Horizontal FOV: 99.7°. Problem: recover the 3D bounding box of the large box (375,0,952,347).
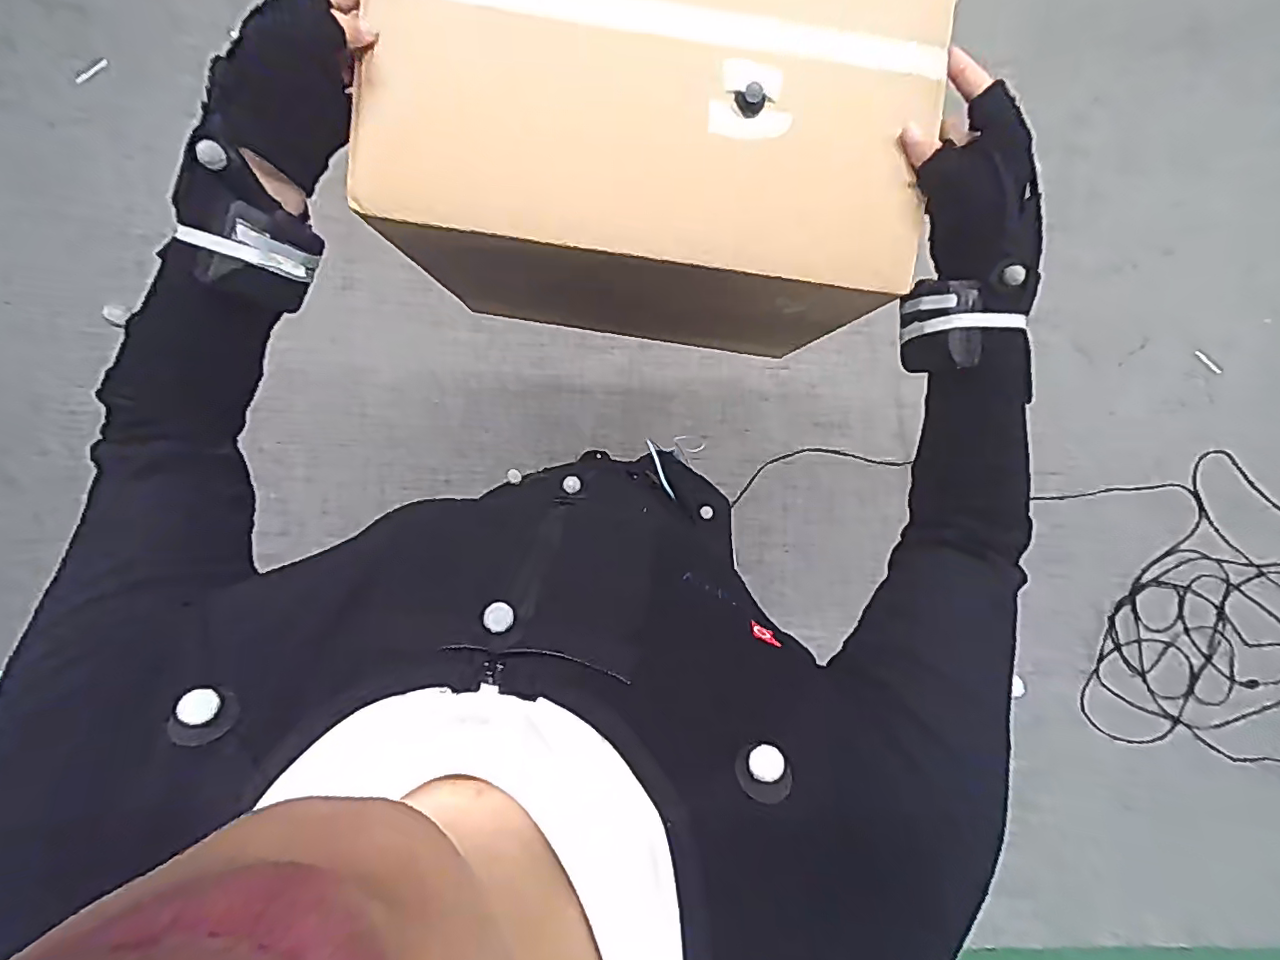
[{"bbox_3d":[0.015,-0.333,0.535,0.408,0.320,0.320,8,95,-2],"label":"large box"}]
